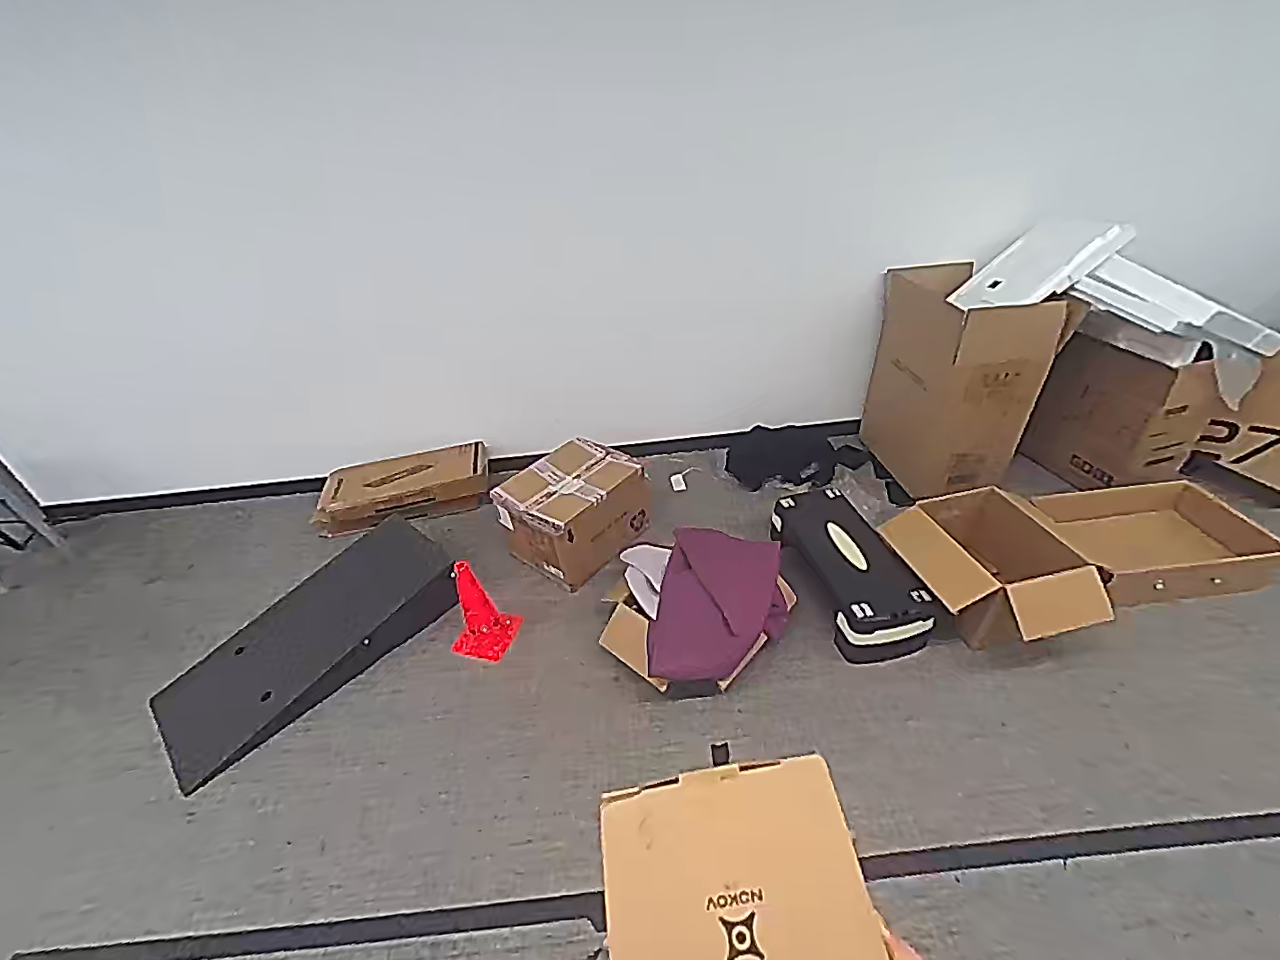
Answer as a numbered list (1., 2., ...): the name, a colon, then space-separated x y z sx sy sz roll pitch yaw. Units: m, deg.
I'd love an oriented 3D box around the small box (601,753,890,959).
1. small box: 0.075 0.324 0.388 0.168 0.176 0.179 -13 49 4
